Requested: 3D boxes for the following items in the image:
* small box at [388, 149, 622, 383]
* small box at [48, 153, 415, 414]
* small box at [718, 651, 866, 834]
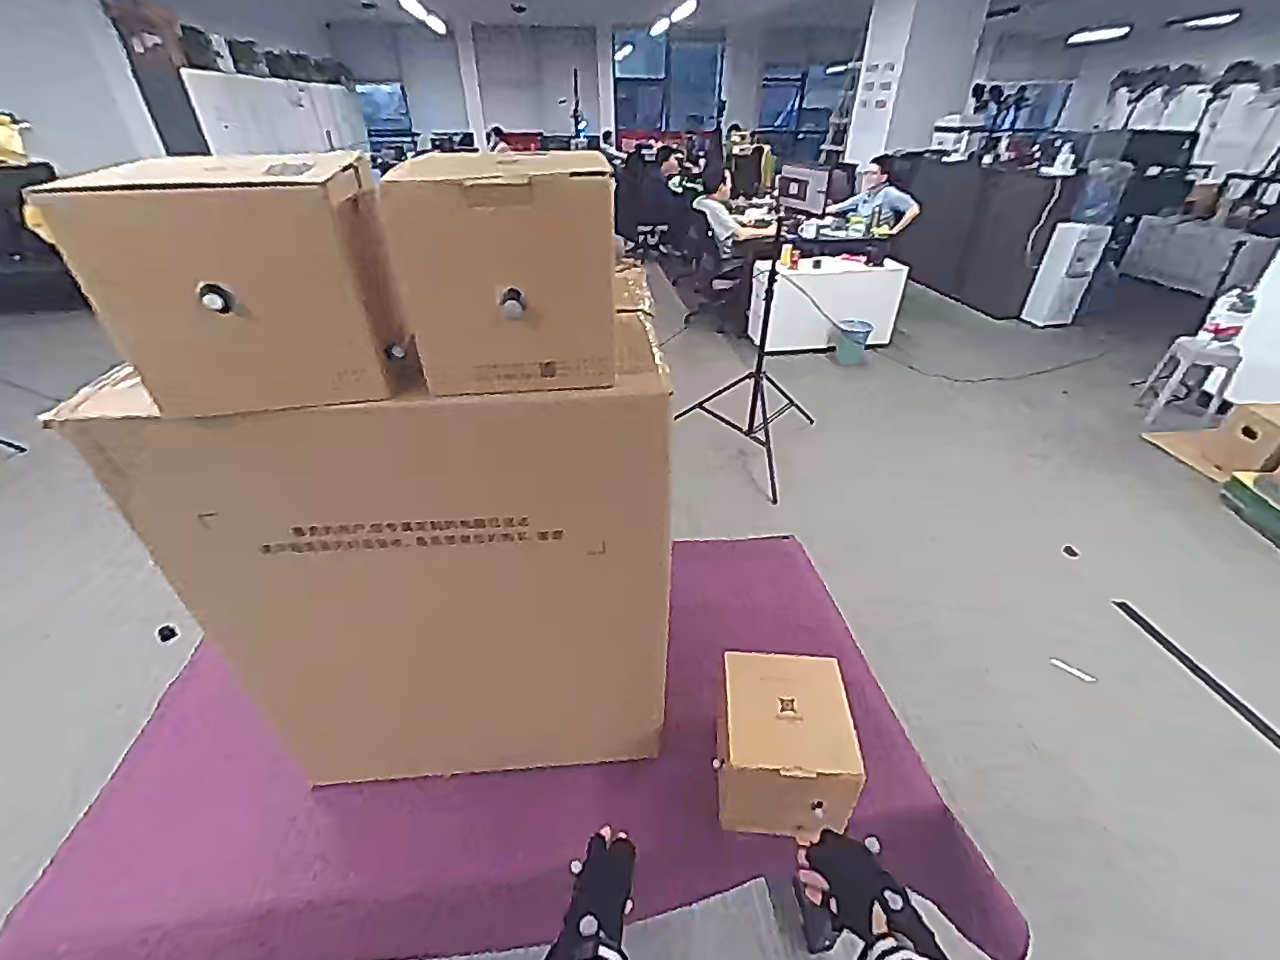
[{"bbox_3d":[-0.105,-0.197,0.498,0.168,0.176,0.179,-4,37,-6],"label":"small box"},{"bbox_3d":[-0.308,-0.173,0.466,0.179,0.176,0.168,-8,37,-10],"label":"small box"},{"bbox_3d":[0.203,0.372,0.772,0.168,0.176,0.179,3,33,3],"label":"small box"}]
